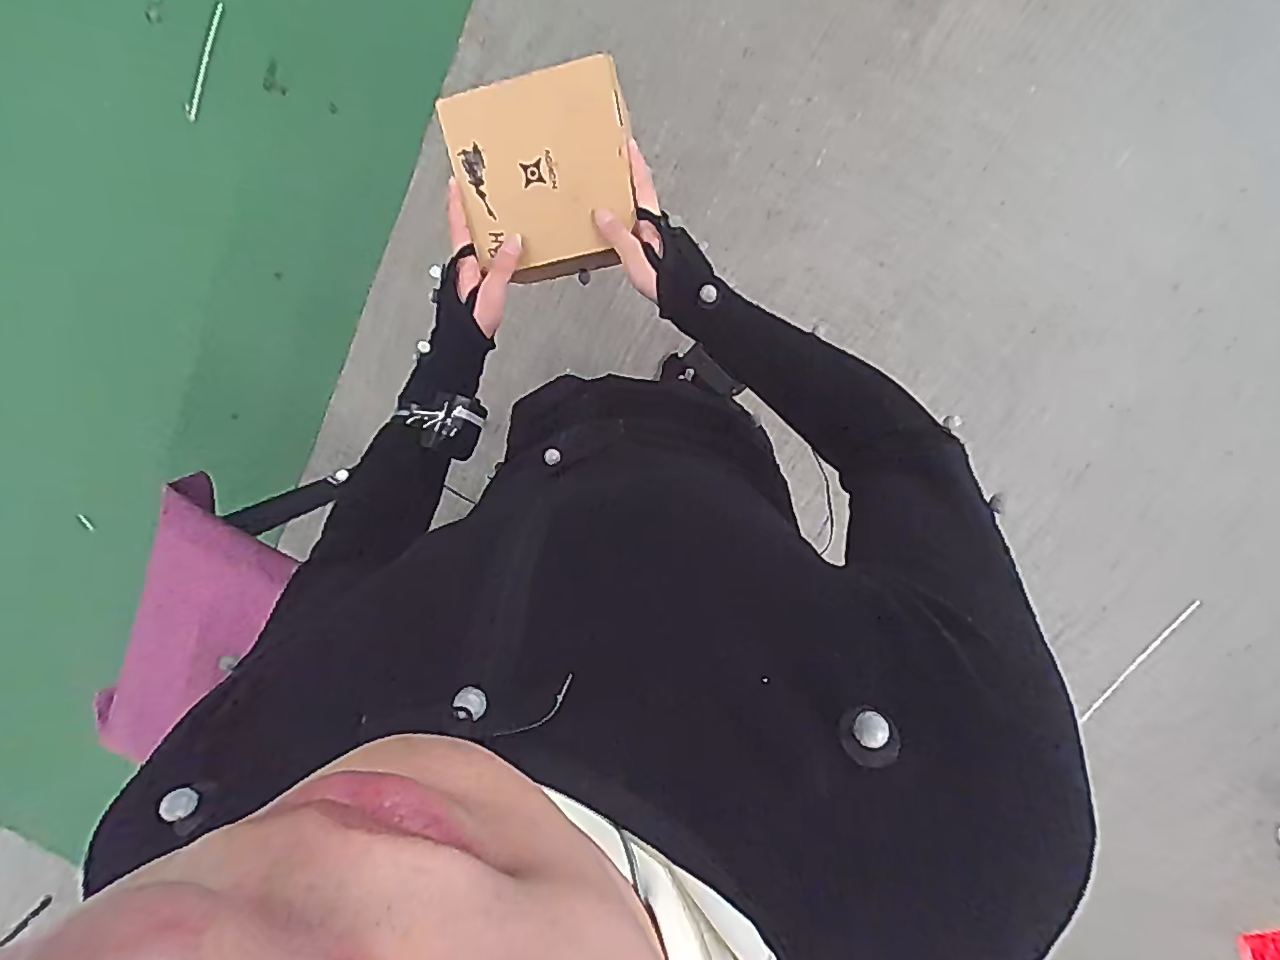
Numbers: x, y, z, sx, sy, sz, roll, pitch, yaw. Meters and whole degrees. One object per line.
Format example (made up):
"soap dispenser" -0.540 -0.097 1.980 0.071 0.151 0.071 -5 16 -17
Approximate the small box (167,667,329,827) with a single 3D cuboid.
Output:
"small box" -0.737 0.501 1.034 0.168 0.176 0.179 31 106 -2

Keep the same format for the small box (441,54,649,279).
"small box" -0.087 -0.327 0.603 0.179 0.176 0.168 -9 106 7
